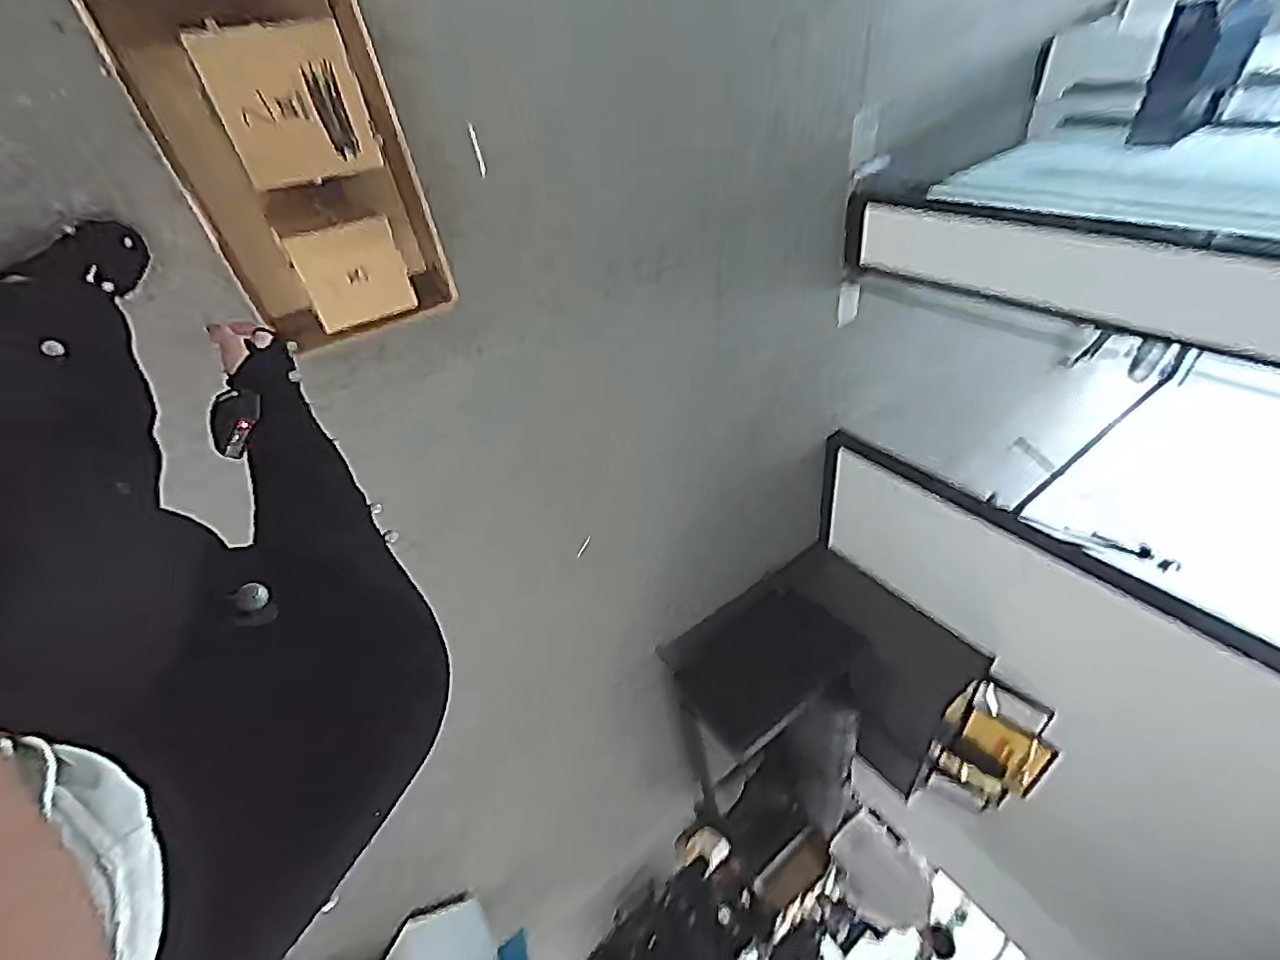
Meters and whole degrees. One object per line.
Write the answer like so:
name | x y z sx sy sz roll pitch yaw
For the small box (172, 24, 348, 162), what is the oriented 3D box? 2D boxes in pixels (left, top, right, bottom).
small box | -0.606 -0.622 0.867 0.179 0.176 0.168 -26 133 -26

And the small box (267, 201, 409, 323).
small box | -0.579 -0.426 1.037 0.179 0.176 0.168 -27 132 -24

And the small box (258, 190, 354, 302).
small box | -0.677 -0.500 1.146 0.179 0.176 0.168 -29 134 -22
